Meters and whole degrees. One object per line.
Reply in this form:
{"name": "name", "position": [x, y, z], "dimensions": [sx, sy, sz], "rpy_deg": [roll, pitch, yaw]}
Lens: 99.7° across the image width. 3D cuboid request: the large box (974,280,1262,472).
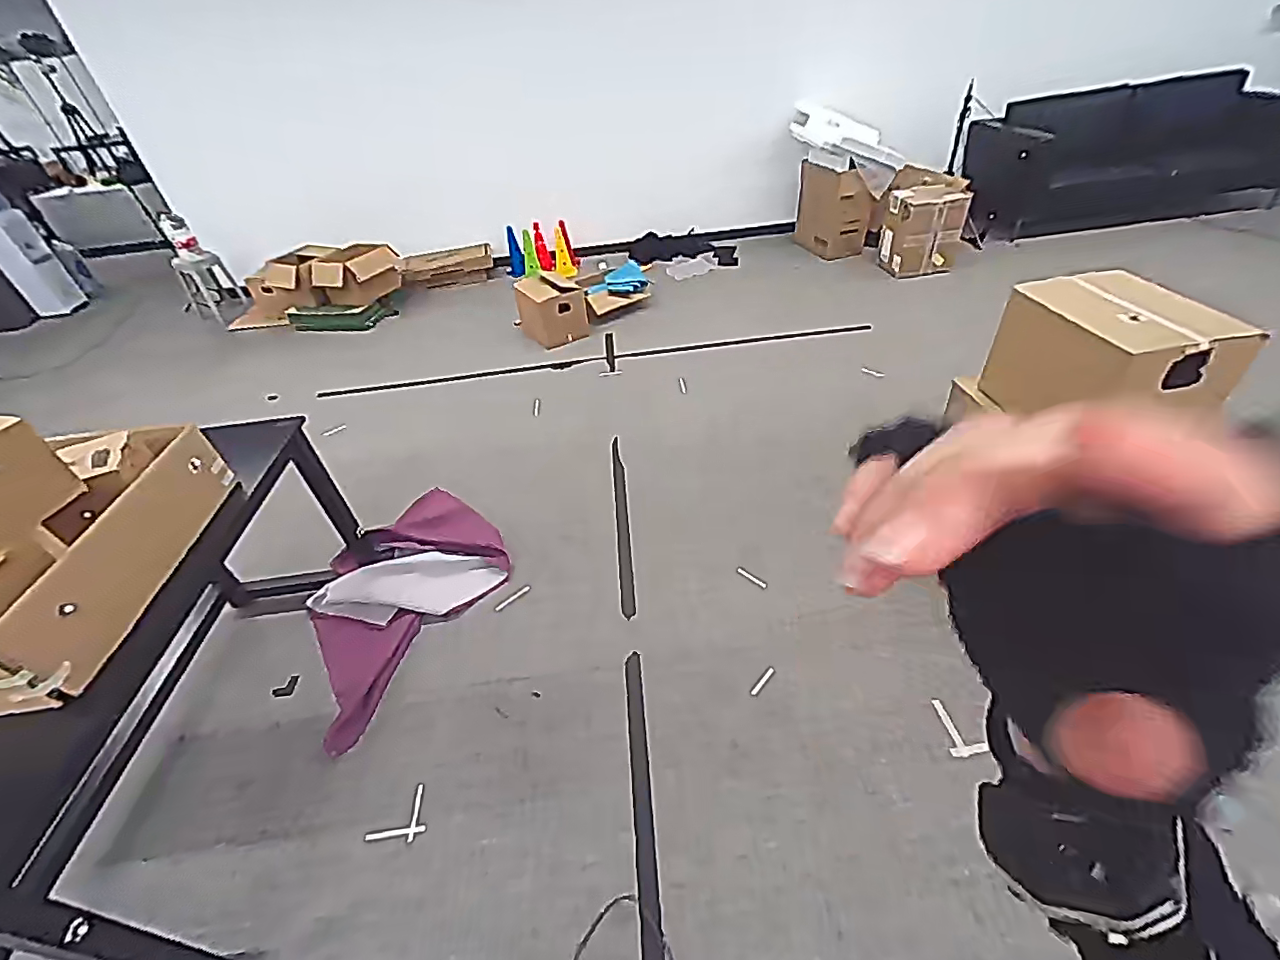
{"name": "large box", "position": [1.168, -0.279, 1.394], "dimensions": [0.320, 0.320, 0.408], "rpy_deg": [-9, 41, -3]}
